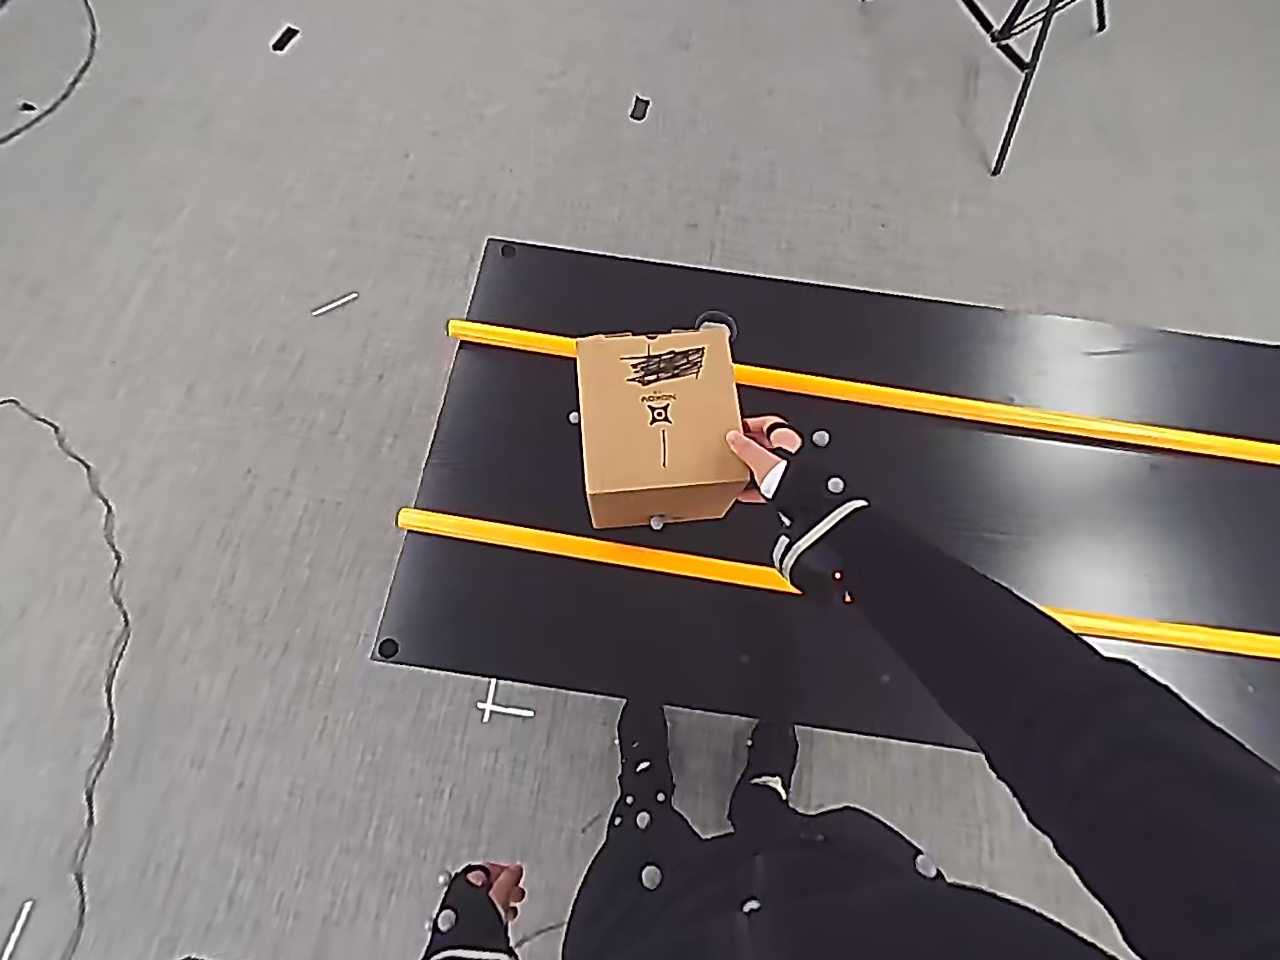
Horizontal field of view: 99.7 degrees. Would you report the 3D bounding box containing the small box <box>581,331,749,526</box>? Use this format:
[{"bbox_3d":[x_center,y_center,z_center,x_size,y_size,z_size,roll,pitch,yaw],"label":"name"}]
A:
[{"bbox_3d":[0.019,-0.053,0.640,0.168,0.176,0.179,-5,74,-3],"label":"small box"}]
